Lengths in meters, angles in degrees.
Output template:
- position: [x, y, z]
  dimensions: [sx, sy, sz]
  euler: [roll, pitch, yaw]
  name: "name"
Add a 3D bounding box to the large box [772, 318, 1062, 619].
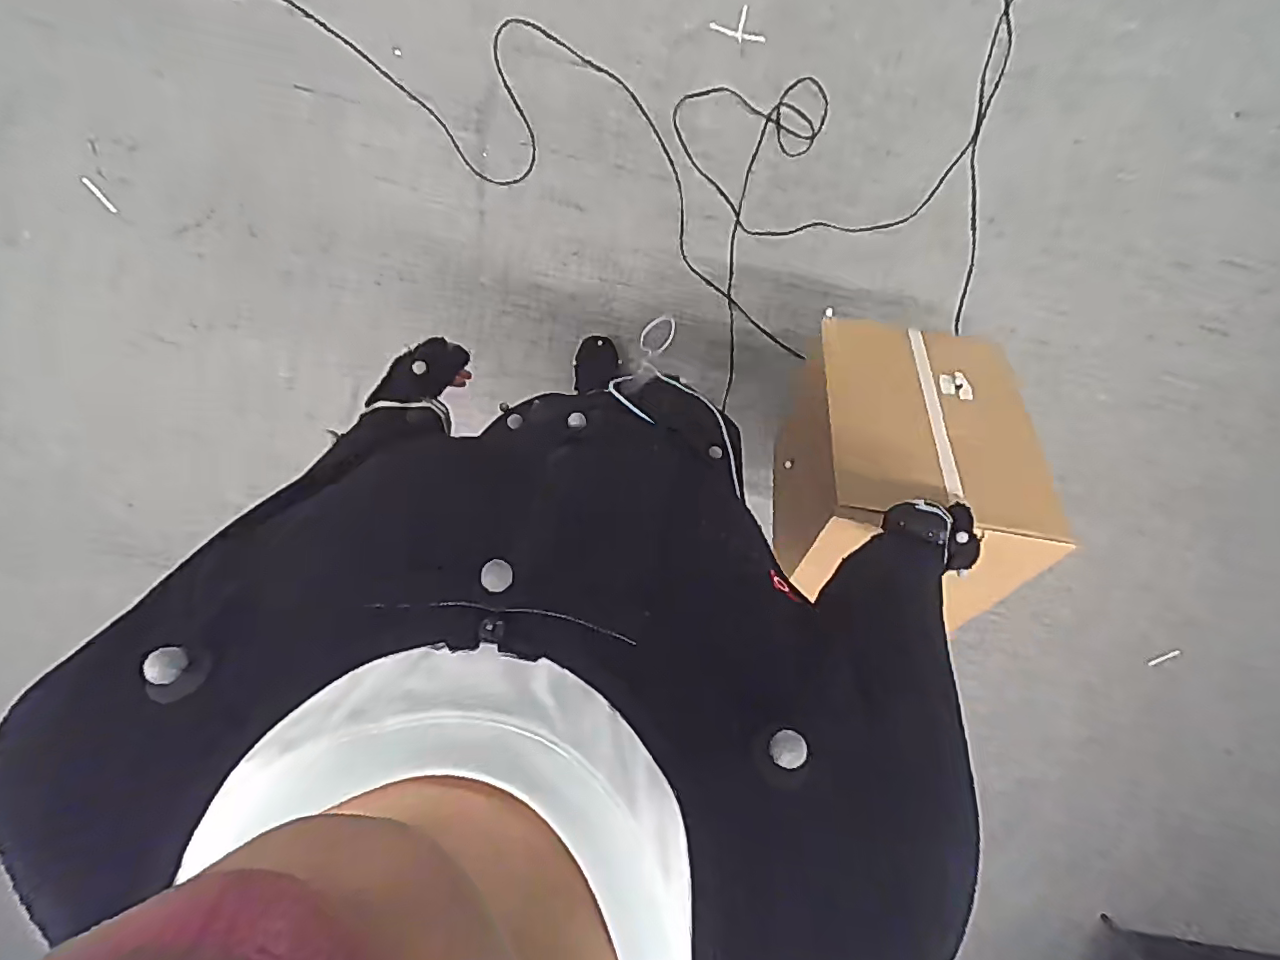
- position: [0.422, -0.016, 0.947]
  dimensions: [0.320, 0.408, 0.320]
  euler: [10, 144, 1]
  name: "large box"
